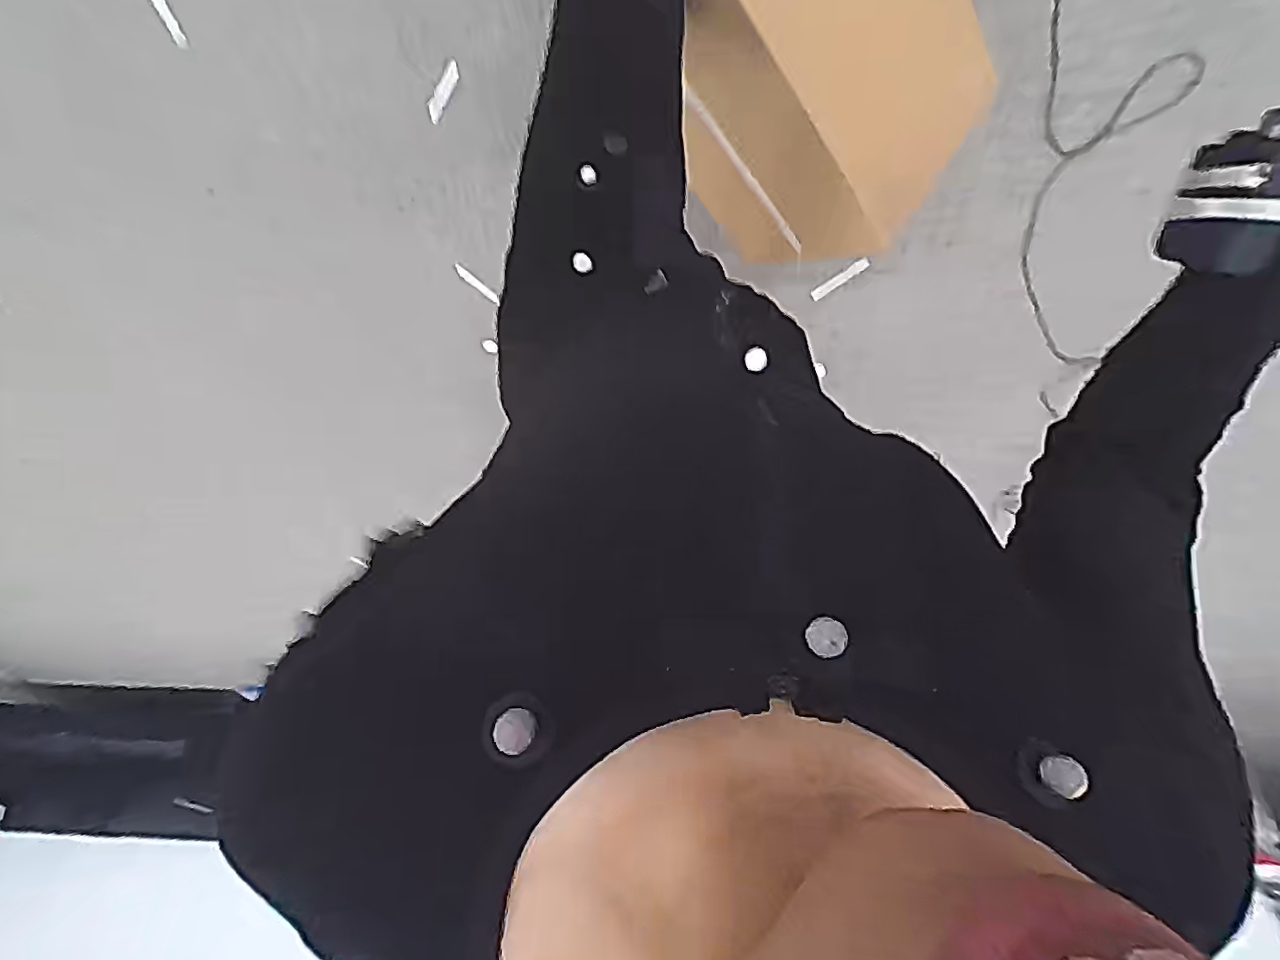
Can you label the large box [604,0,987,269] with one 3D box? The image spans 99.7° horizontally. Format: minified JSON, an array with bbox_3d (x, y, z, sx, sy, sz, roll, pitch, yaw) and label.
[{"bbox_3d":[0.226,-0.590,0.807,0.408,0.320,0.320,39,175,-31],"label":"large box"}]
